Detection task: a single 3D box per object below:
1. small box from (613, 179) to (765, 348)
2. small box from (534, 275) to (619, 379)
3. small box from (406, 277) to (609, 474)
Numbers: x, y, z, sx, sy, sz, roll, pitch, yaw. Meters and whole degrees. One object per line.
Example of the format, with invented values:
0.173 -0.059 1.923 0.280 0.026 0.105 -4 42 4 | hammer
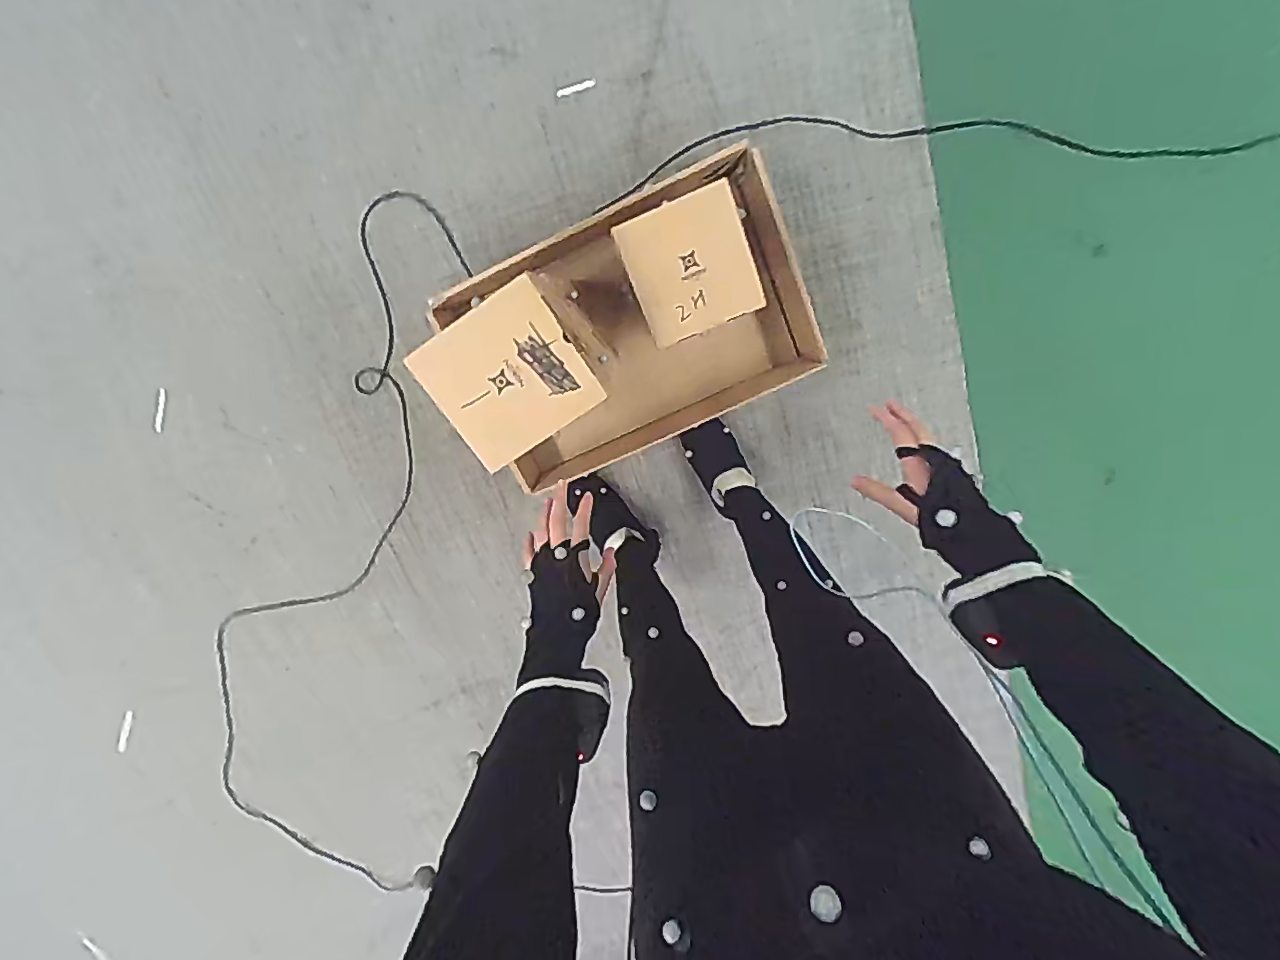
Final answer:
0.067 -0.313 0.811 0.168 0.176 0.179 -21 107 7 | small box
-0.151 -0.197 0.850 0.179 0.176 0.168 -39 105 10 | small box
-0.155 -0.140 0.696 0.179 0.176 0.168 -32 106 9 | small box
